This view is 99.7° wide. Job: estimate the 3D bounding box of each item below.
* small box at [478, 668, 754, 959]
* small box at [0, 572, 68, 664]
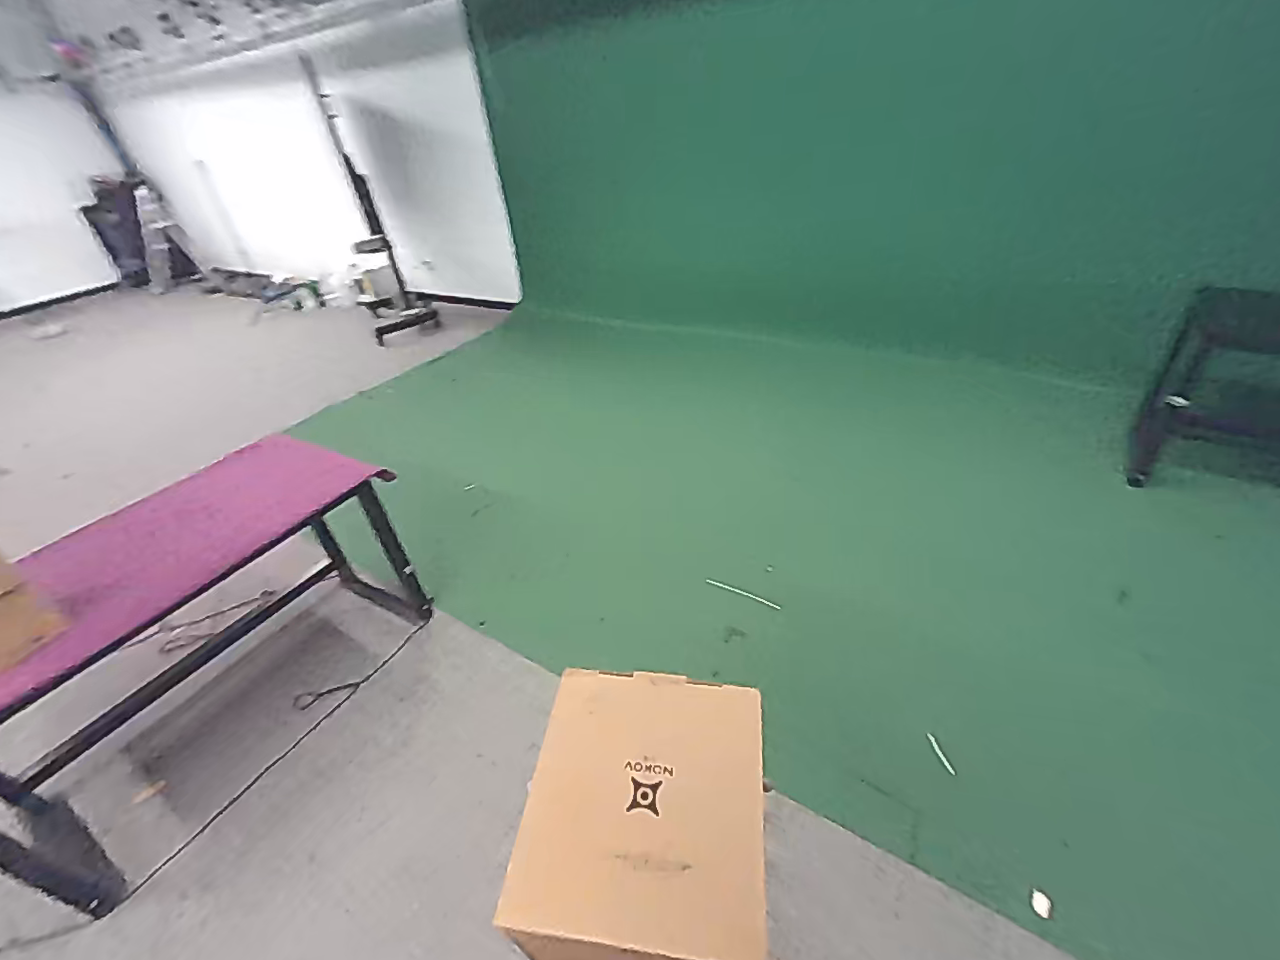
[{"bbox_3d":[-0.003,0.277,0.422,0.168,0.176,0.179,4,40,8],"label":"small box"},{"bbox_3d":[-1.509,0.308,1.252,0.179,0.176,0.168,12,39,24],"label":"small box"}]
